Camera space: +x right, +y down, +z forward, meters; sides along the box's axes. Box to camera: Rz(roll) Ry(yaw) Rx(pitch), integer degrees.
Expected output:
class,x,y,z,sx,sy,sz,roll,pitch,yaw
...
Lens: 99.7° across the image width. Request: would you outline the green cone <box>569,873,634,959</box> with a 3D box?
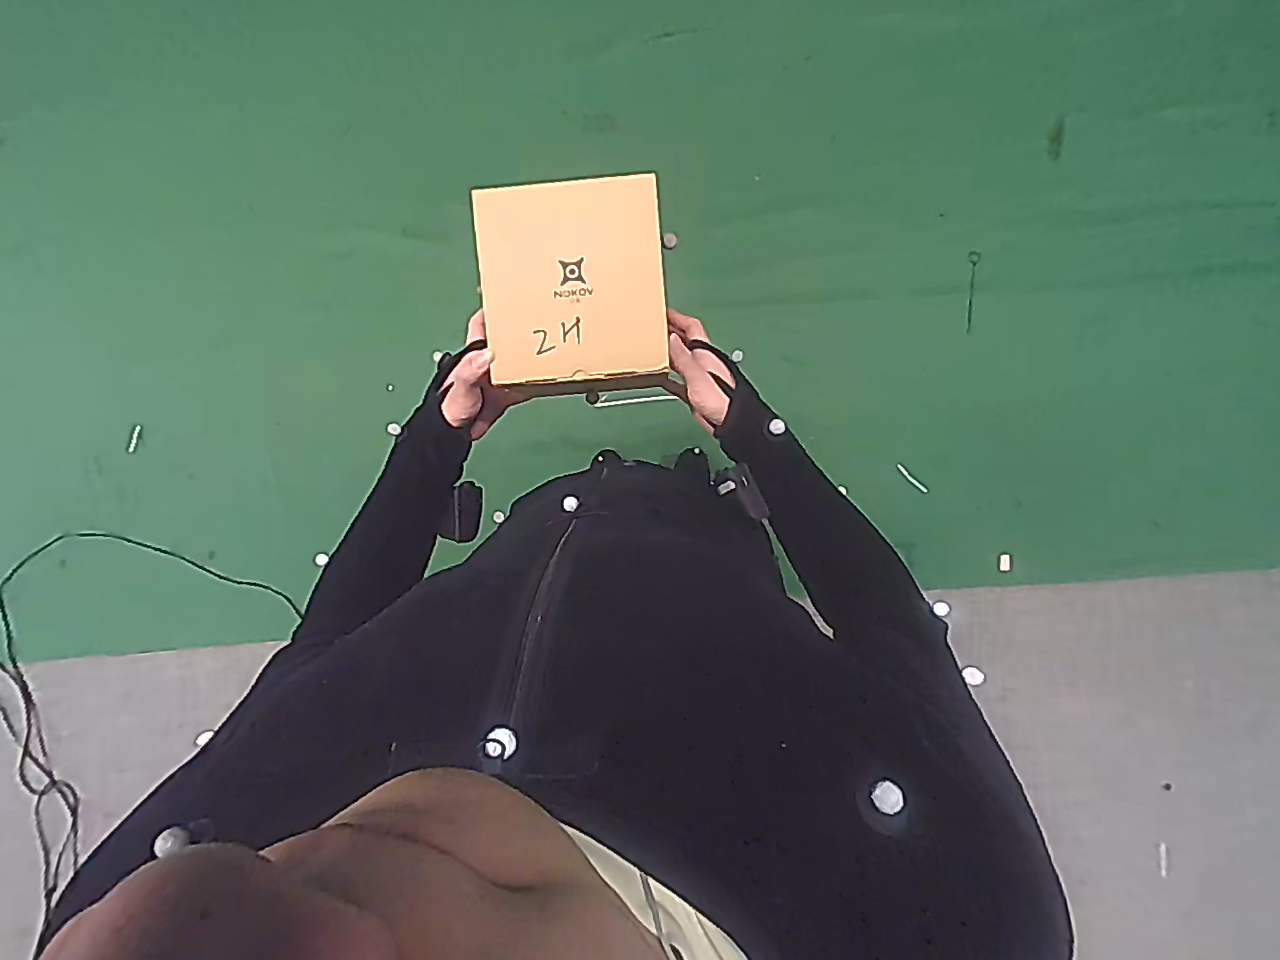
class,x,y,z,sx,sy,sz,roll,pitch,yaw
green cone,-0.131,1.362,1.557,0.202,0.368,0.200,-4,93,3
